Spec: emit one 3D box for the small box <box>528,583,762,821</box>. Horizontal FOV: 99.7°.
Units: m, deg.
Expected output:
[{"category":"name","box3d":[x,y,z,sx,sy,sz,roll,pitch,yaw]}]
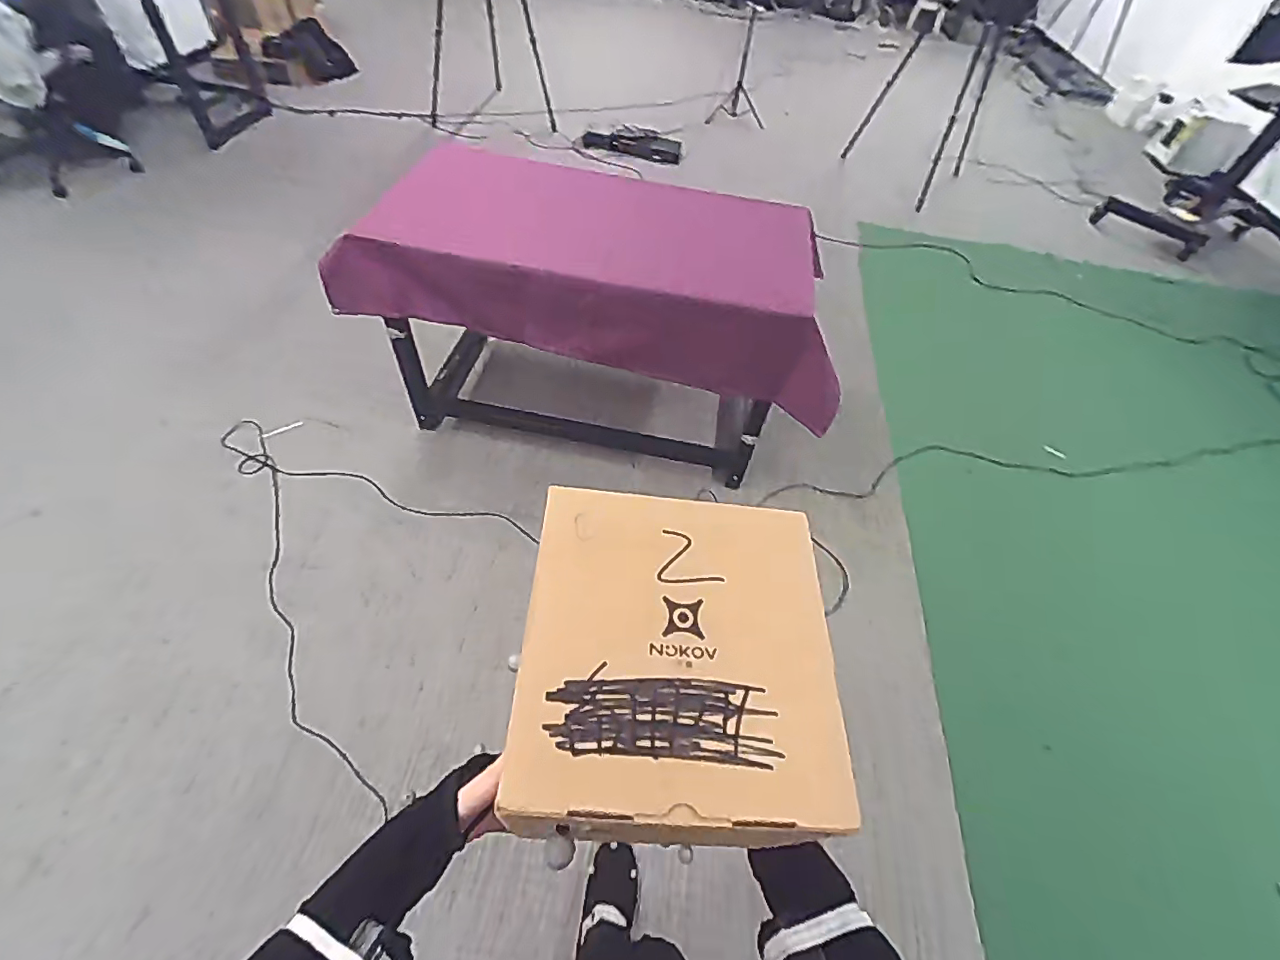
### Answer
[{"category":"small box","box3d":[-0.002,0.212,0.503,0.179,0.176,0.168,5,53,-5]}]
